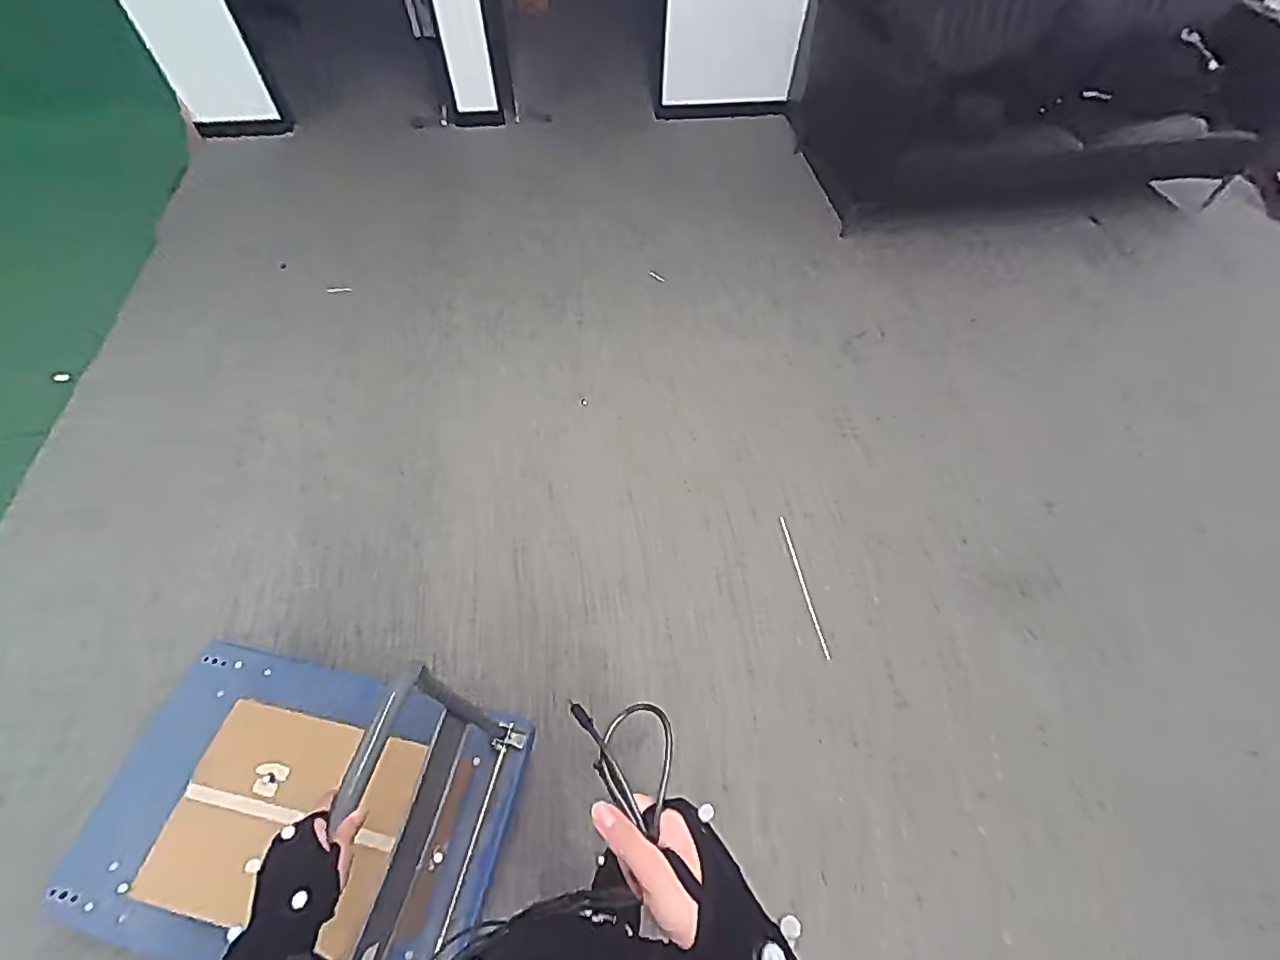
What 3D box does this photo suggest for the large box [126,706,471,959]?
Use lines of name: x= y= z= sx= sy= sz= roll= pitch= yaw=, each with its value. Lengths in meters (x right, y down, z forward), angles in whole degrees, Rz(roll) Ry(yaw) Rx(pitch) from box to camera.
large box: x=-0.601 y=0.666 z=1.050 sx=0.408 sy=0.320 sz=0.320 roll=11 pitch=57 yaw=6
